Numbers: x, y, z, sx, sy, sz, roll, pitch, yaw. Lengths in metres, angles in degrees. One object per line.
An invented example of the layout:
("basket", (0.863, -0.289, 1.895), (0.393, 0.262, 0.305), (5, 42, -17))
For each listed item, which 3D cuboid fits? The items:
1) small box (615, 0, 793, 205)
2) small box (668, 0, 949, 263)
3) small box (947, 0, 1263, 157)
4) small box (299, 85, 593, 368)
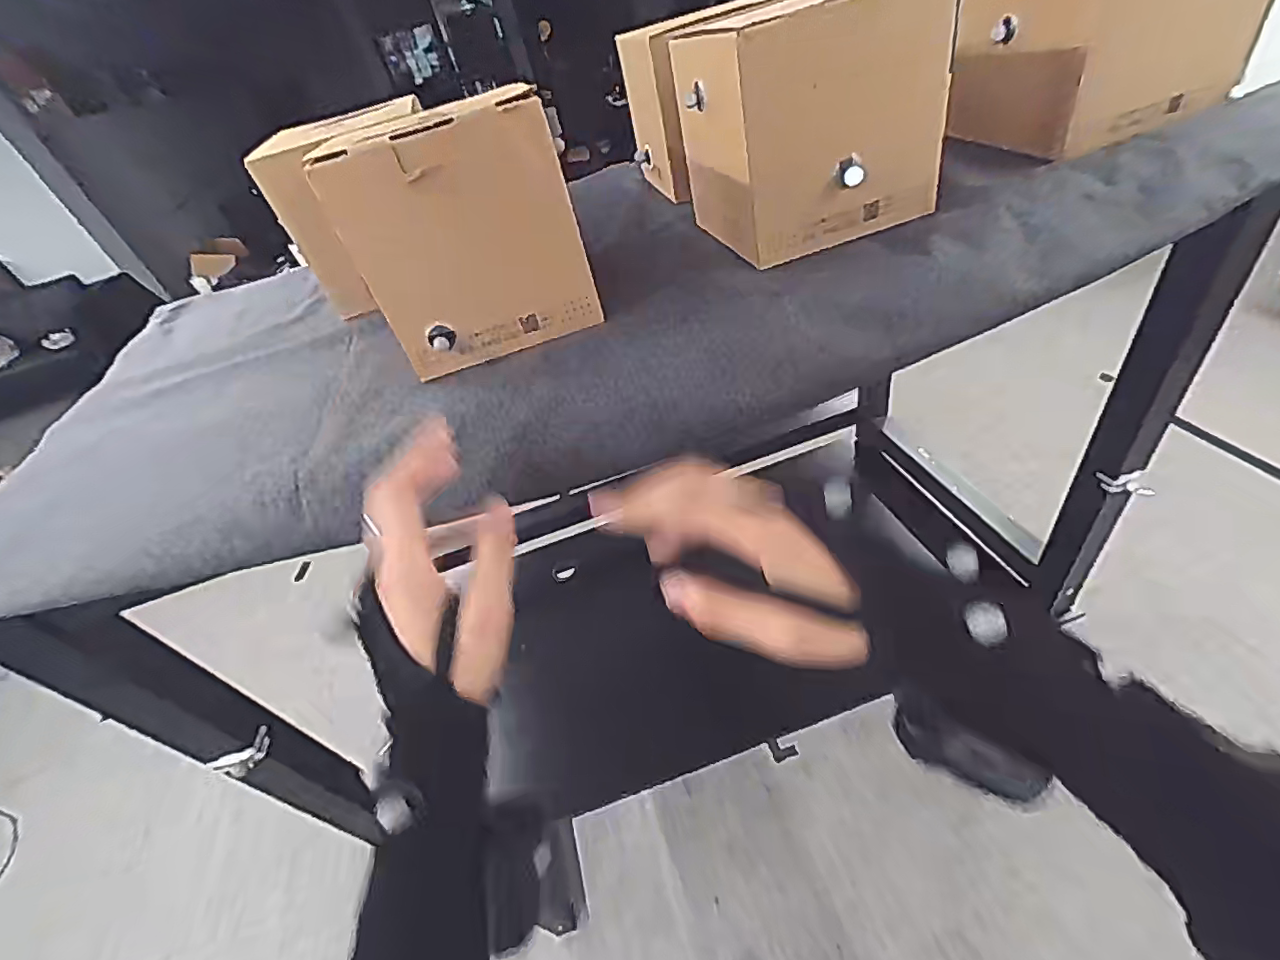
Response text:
("small box", (0.083, -0.469, 0.674), (0.179, 0.176, 0.168), (-18, 40, -2))
("small box", (0.136, -0.315, 0.483), (0.168, 0.176, 0.179), (-19, 40, -2))
("small box", (0.423, -0.426, 0.510), (0.168, 0.176, 0.179), (-18, 40, 0))
("small box", (-0.149, -0.216, 0.471), (0.168, 0.176, 0.179), (-19, 40, -3))
